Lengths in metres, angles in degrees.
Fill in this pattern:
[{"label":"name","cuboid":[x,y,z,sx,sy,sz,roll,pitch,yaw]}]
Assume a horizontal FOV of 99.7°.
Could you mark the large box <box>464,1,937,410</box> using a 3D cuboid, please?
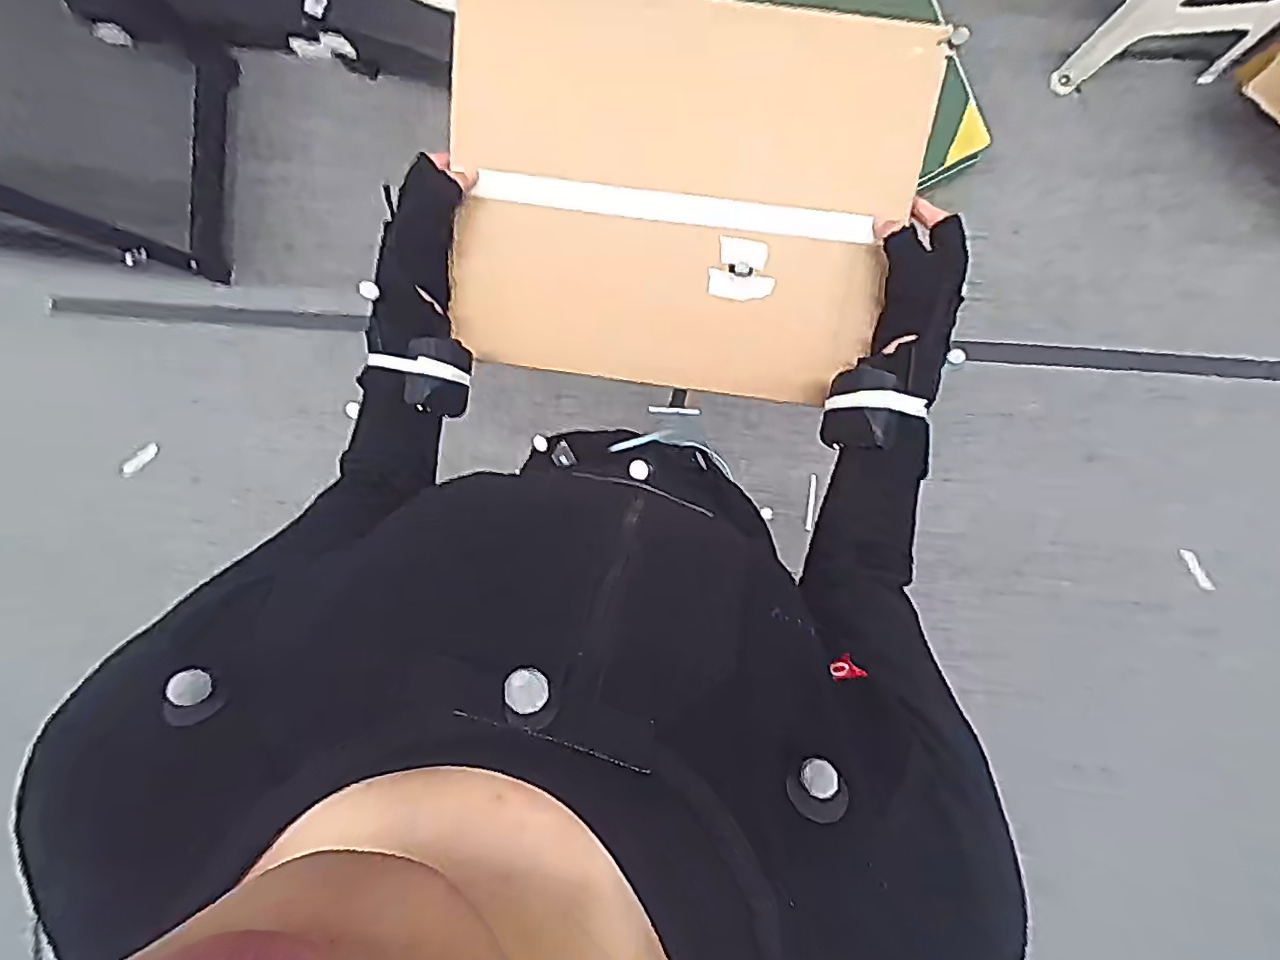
[{"label":"large box","cuboid":[0.042,-0.276,0.639,0.408,0.320,0.320,8,106,1]}]
